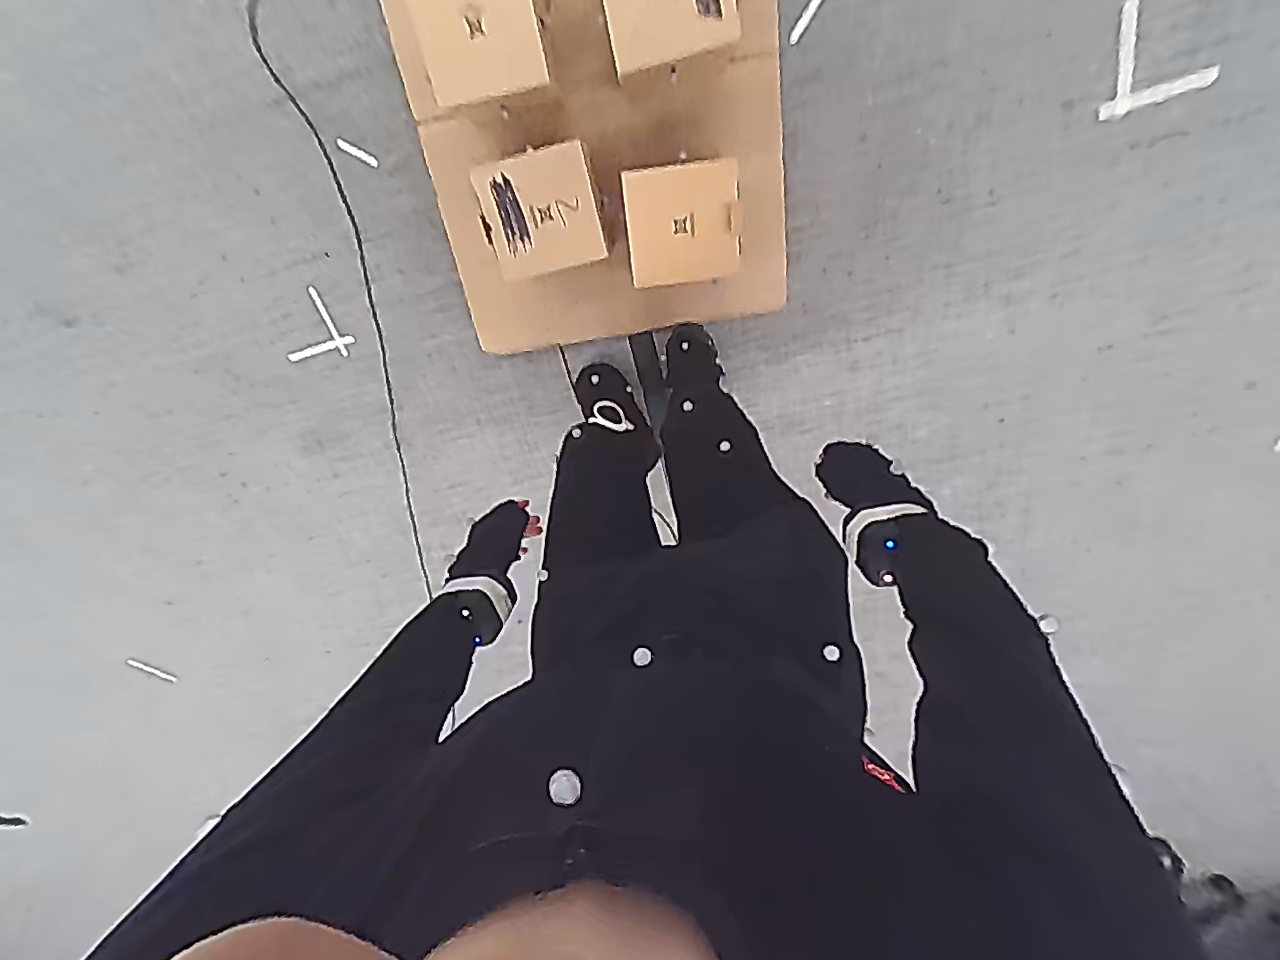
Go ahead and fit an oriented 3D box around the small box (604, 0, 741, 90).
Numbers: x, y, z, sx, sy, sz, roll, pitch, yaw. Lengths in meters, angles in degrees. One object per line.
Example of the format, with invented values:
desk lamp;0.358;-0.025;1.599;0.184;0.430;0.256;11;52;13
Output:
small box;0.039;-0.686;0.776;0.179;0.176;0.168;-9;118;6

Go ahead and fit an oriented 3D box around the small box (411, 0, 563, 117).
small box;-0.218;-0.656;0.799;0.168;0.176;0.179;-9;117;5
